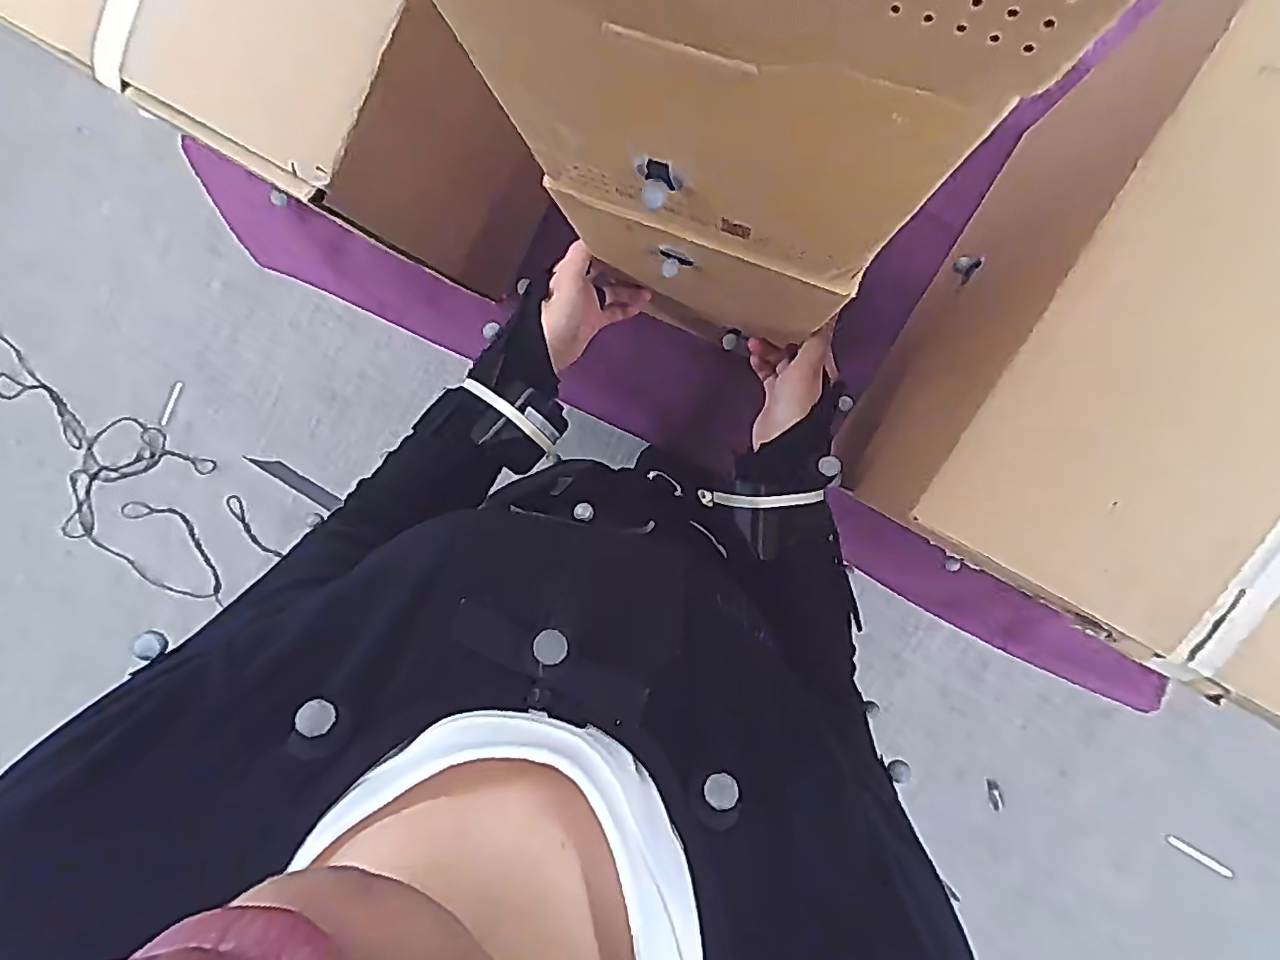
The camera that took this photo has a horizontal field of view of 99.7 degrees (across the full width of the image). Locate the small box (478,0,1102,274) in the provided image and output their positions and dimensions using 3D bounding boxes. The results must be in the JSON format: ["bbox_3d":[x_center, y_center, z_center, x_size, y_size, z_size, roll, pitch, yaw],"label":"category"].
[{"bbox_3d":[0.049,-0.197,0.180,0.168,0.176,0.179,21,99,5],"label":"small box"}]

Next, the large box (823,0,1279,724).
[{"bbox_3d":[0.395,-0.086,0.406,0.320,0.320,0.408,29,97,4],"label":"large box"}]
